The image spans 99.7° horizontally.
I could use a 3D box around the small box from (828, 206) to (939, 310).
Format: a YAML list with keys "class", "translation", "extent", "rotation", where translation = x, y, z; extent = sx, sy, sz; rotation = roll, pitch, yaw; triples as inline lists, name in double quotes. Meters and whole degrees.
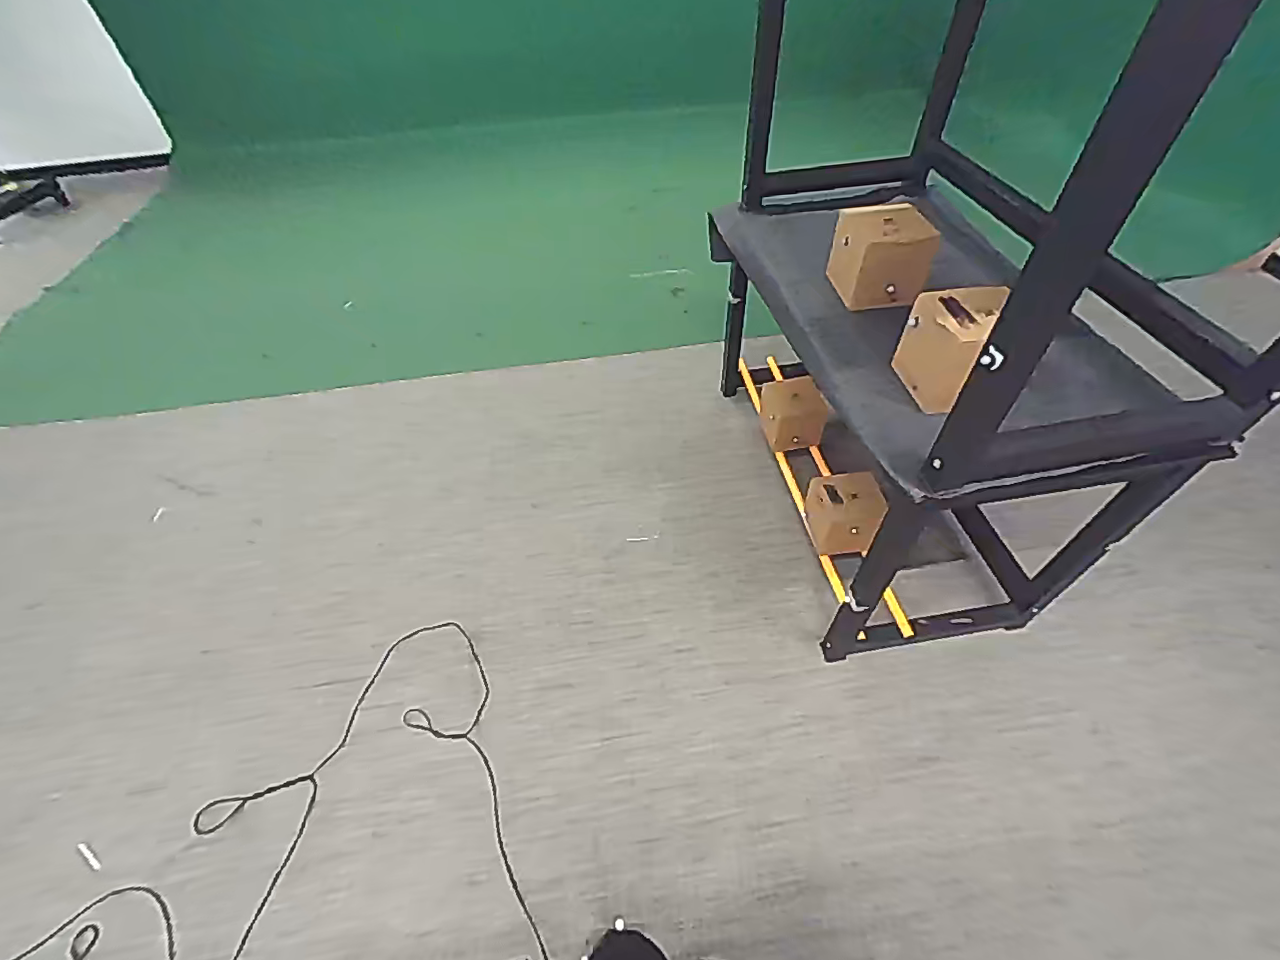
- class: "small box"
  translation: [0.566, -0.527, 1.287]
  extent: [0.168, 0.176, 0.179]
  rotation: [-6, 49, -2]

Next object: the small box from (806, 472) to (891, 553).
- class: "small box"
  translation: [0.592, 0.099, 1.570]
  extent: [0.179, 0.176, 0.168]
  rotation: [-6, 50, -1]
